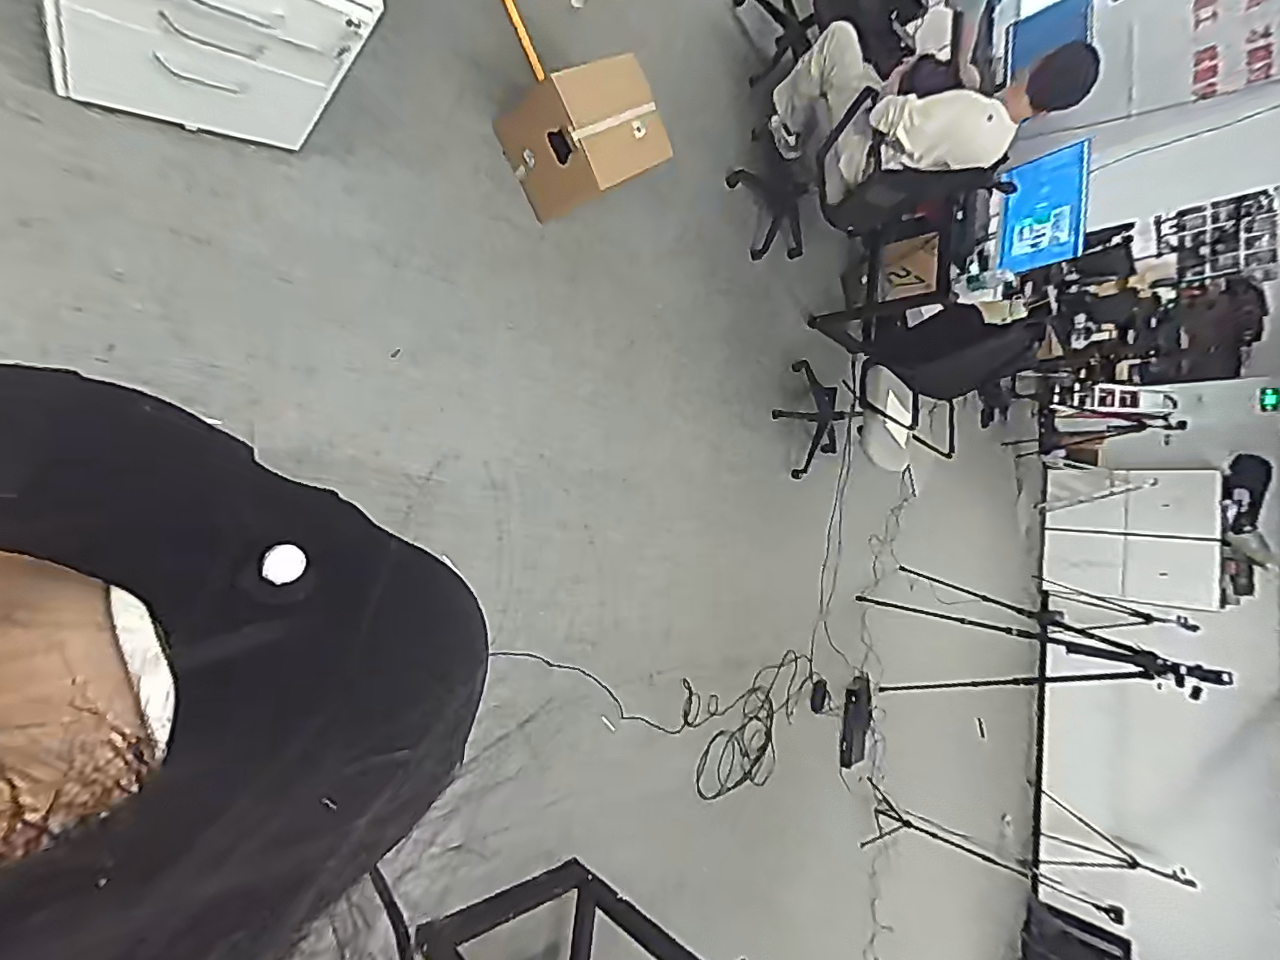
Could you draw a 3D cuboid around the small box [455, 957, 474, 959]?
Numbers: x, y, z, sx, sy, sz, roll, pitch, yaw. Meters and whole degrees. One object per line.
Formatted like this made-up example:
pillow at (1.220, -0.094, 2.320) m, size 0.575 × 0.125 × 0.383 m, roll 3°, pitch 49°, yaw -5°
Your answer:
small box at (-0.527, 1.494, 1.521) m, size 0.168 × 0.176 × 0.179 m, roll 28°, pitch 70°, yaw -41°
